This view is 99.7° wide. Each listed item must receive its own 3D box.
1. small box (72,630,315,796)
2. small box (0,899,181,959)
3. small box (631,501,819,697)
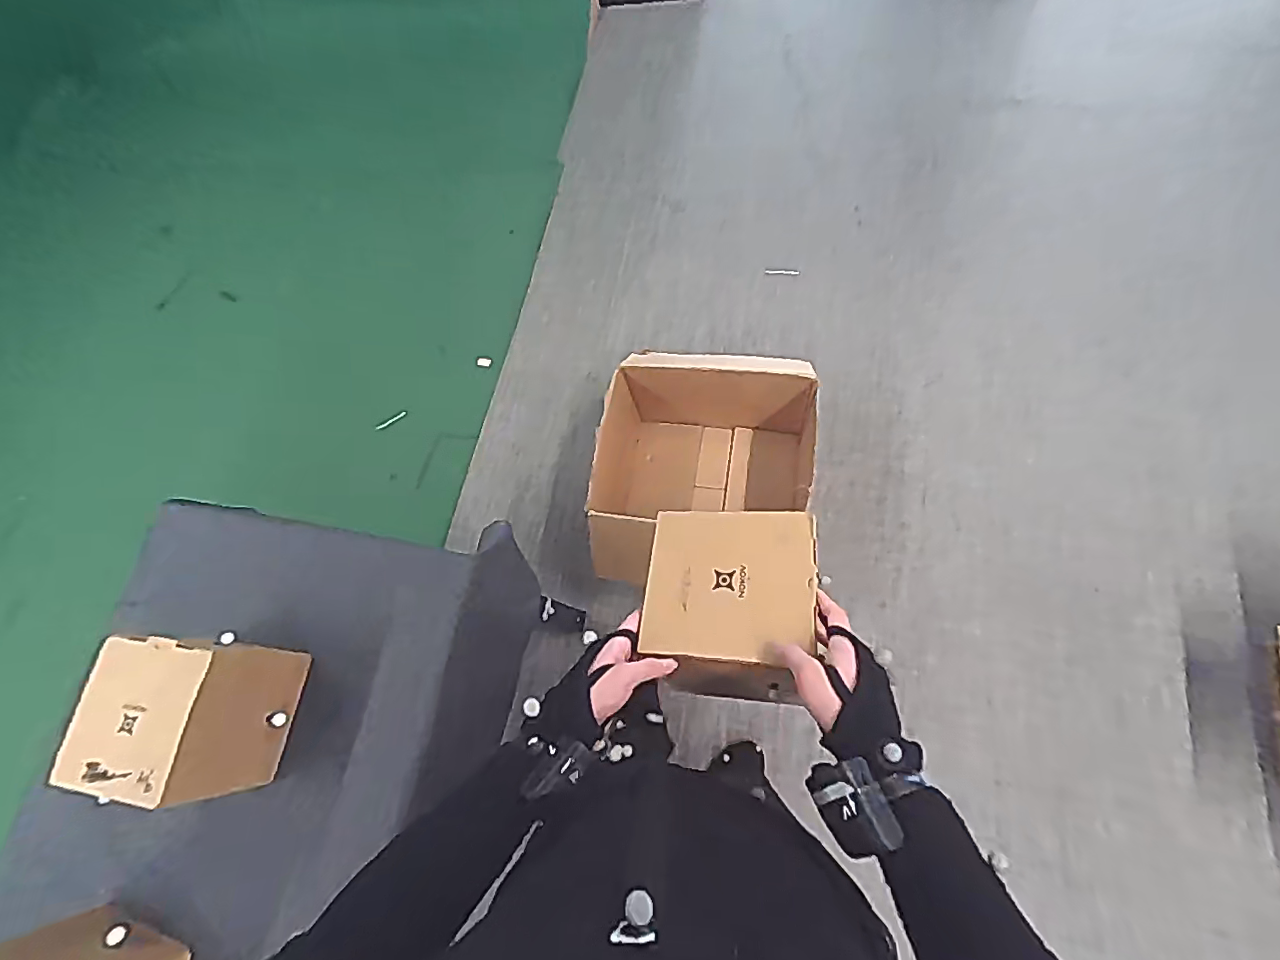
[{"bbox_3d":[-0.592,0.311,0.745,0.168,0.176,0.179,3,71,10],"label":"small box"},{"bbox_3d":[-0.695,0.639,0.621,0.168,0.176,0.179,15,74,13],"label":"small box"},{"bbox_3d":[0.107,0.136,0.606,0.179,0.176,0.168,-1,56,19],"label":"small box"}]
